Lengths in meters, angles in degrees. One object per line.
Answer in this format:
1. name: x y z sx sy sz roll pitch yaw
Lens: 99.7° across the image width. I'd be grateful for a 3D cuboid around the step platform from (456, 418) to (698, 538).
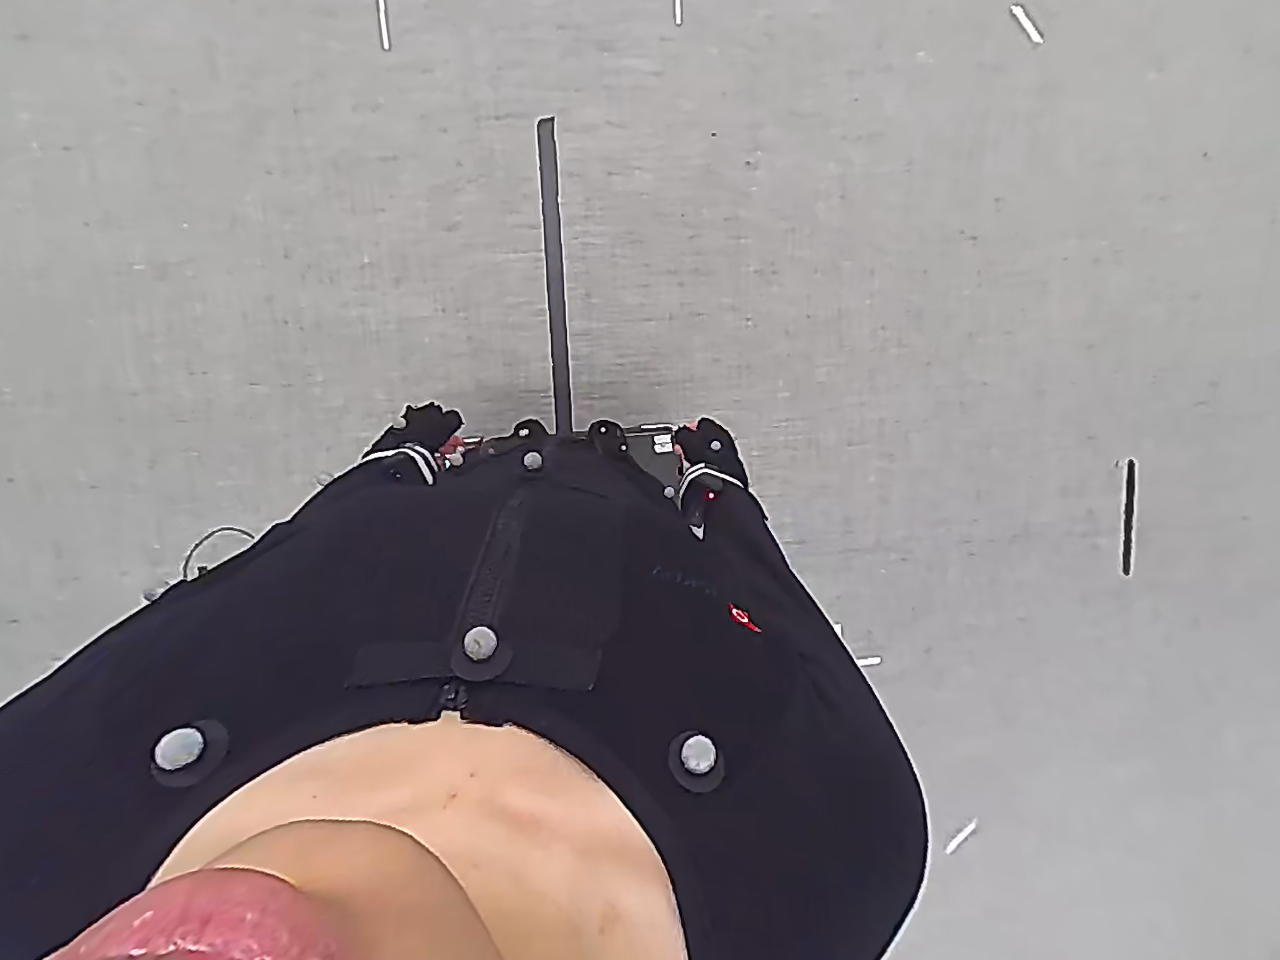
1. step platform: -0.175 -0.012 1.569 0.684 0.204 0.286 -6 98 -4
